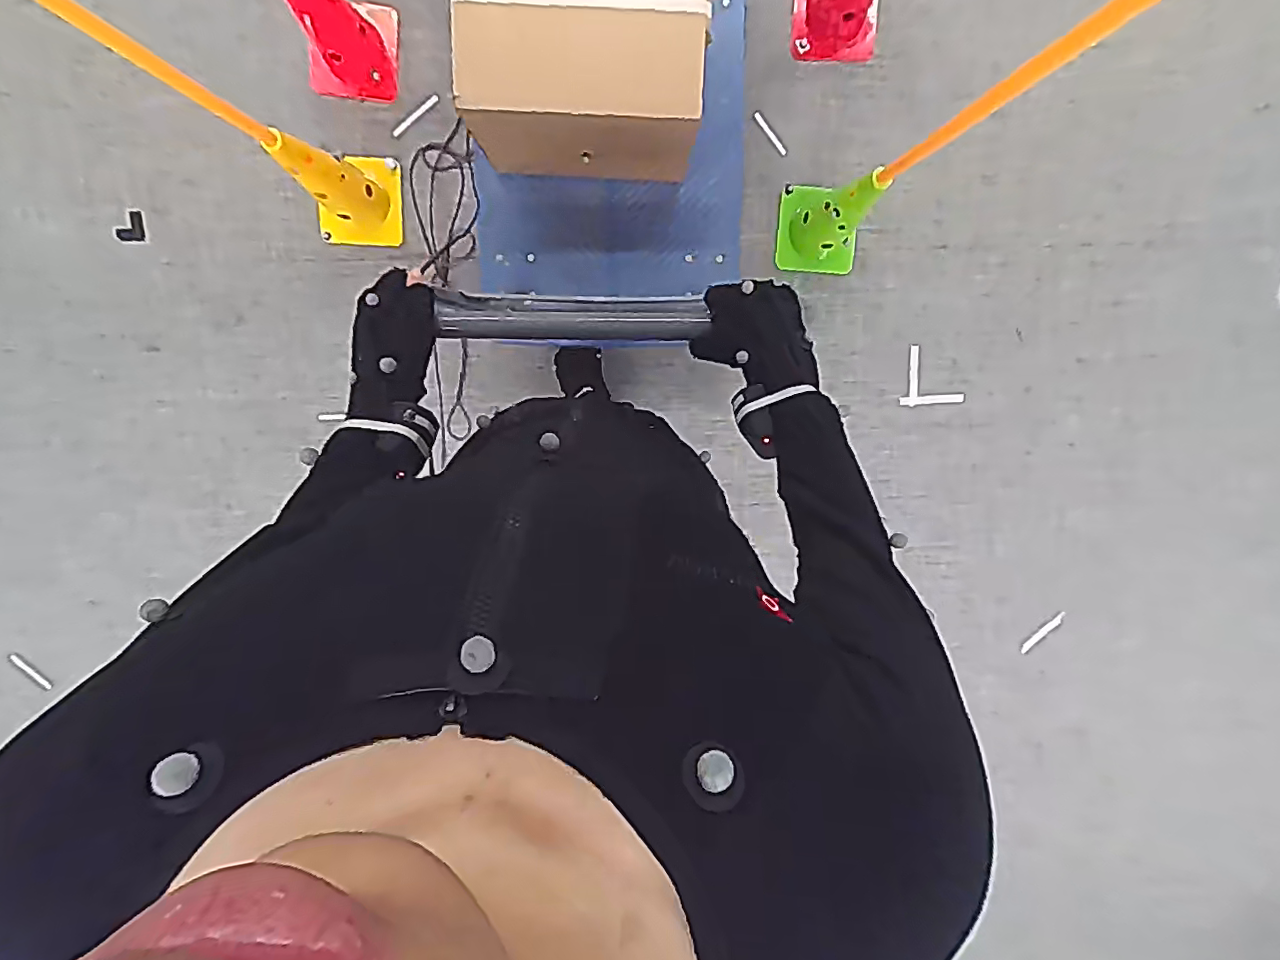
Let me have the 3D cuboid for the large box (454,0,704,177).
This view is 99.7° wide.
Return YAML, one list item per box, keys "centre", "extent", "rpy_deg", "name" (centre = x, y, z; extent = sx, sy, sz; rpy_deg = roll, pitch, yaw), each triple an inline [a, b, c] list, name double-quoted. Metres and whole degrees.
- centre: [-0.097, -0.777, 1.003]
  extent: [0.408, 0.320, 0.320]
  rpy_deg: [1, 102, -1]
  name: "large box"

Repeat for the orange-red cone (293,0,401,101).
- centre: [-0.658, -0.980, 1.098]
  extent: [0.198, 0.360, 0.199]
  rpy_deg: [6, 99, -3]
  name: "orange-red cone"

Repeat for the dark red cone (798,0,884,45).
- centre: [0.471, -1.085, 1.083]
  extent: [0.201, 0.394, 0.202]
  rpy_deg: [-1, 101, -3]
  name: "dark red cone"

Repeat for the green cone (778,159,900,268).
- centre: [0.458, -0.611, 1.190]
  extent: [0.202, 0.368, 0.200]
  rpy_deg: [2, 101, -3]
  name: "green cone"
